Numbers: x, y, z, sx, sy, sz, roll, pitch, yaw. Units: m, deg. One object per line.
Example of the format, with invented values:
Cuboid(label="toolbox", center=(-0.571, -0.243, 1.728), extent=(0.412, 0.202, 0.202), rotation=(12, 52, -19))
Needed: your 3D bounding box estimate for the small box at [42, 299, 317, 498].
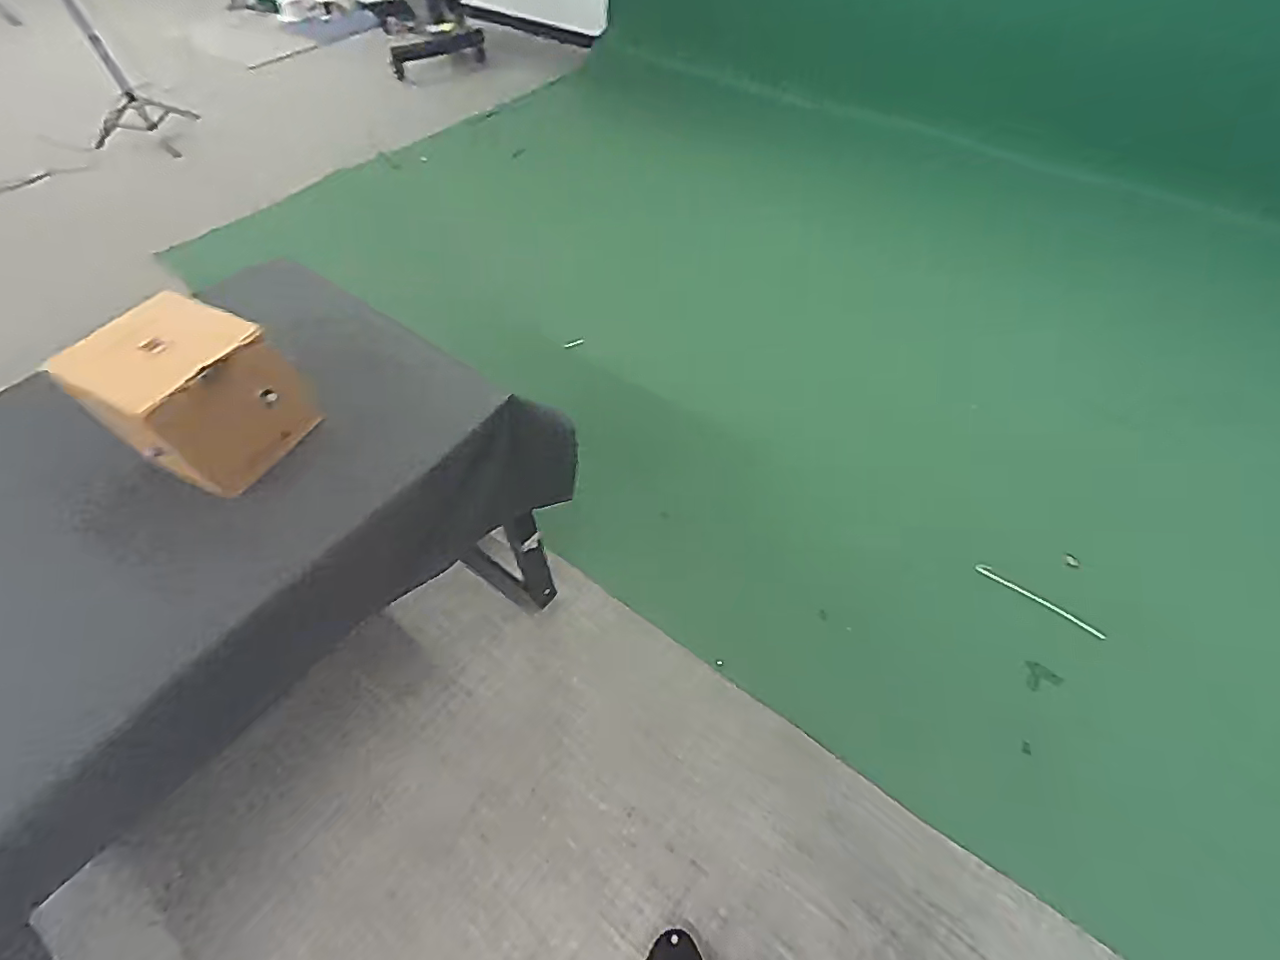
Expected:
Cuboid(label="small box", center=(-0.572, -0.100, 0.702), extent=(0.179, 0.176, 0.168), rotation=(20, 55, 16))
